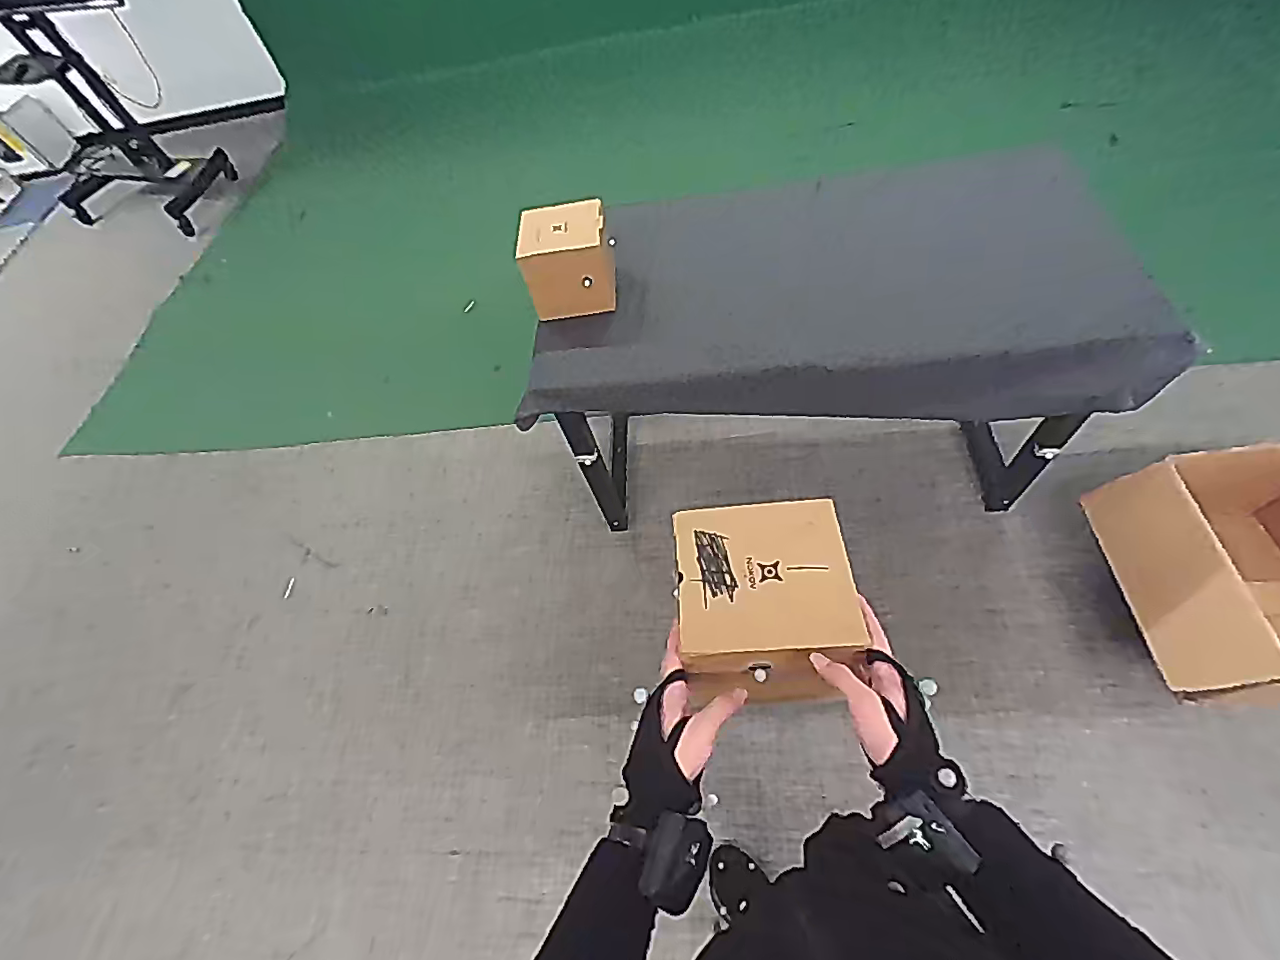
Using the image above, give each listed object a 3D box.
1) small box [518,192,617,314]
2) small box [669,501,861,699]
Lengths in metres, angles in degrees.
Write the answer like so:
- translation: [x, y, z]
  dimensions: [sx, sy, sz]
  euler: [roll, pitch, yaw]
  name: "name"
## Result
- translation: [-0.147, -0.486, 1.171]
  dimensions: [0.179, 0.176, 0.168]
  euler: [-7, 57, 7]
  name: "small box"
- translation: [0.131, 0.139, 0.604]
  dimensions: [0.179, 0.176, 0.168]
  euler: [-3, 54, 9]
  name: "small box"
